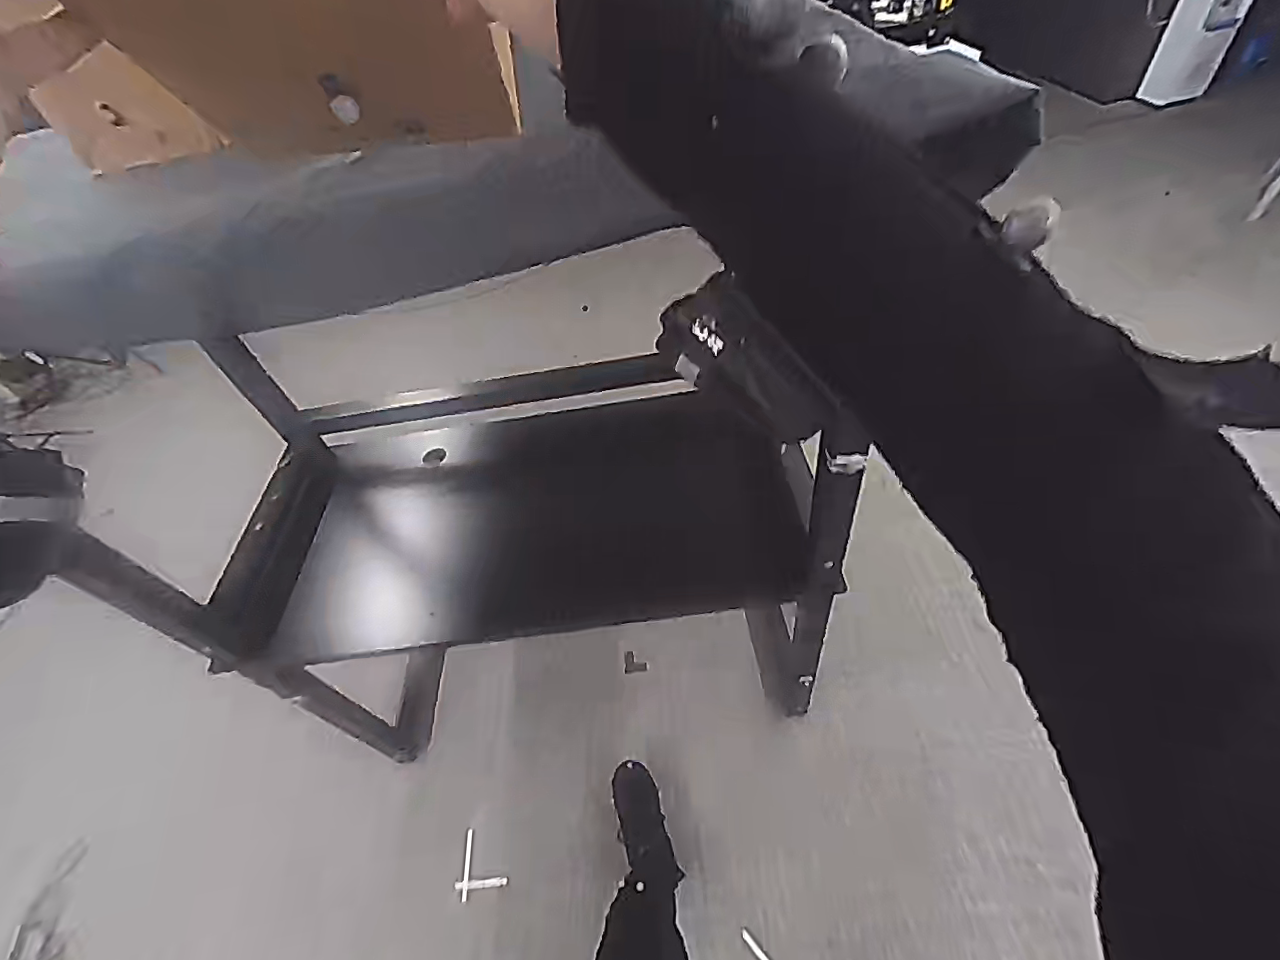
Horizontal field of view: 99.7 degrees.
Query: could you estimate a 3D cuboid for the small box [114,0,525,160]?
[{"bbox_3d":[-0.156,-0.286,0.249,0.168,0.176,0.179,-7,93,-2],"label":"small box"}]
